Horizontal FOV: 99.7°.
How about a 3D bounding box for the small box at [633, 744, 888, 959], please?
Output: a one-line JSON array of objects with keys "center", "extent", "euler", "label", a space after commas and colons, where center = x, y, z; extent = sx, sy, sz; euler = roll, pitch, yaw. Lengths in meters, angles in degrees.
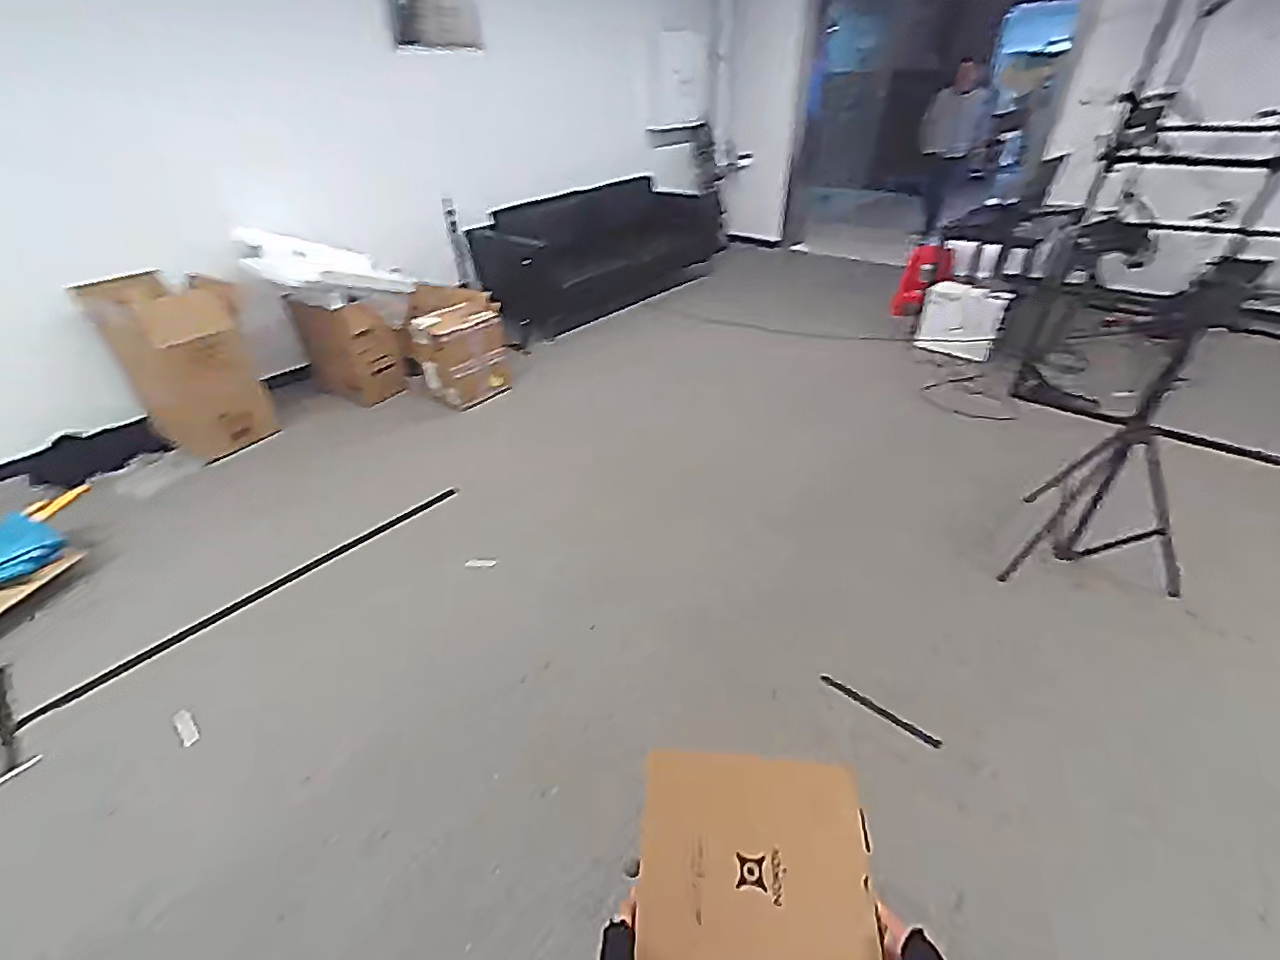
[{"center": [0.086, 0.347, 0.462], "extent": [0.179, 0.176, 0.168], "euler": [2, 44, 3], "label": "small box"}]
